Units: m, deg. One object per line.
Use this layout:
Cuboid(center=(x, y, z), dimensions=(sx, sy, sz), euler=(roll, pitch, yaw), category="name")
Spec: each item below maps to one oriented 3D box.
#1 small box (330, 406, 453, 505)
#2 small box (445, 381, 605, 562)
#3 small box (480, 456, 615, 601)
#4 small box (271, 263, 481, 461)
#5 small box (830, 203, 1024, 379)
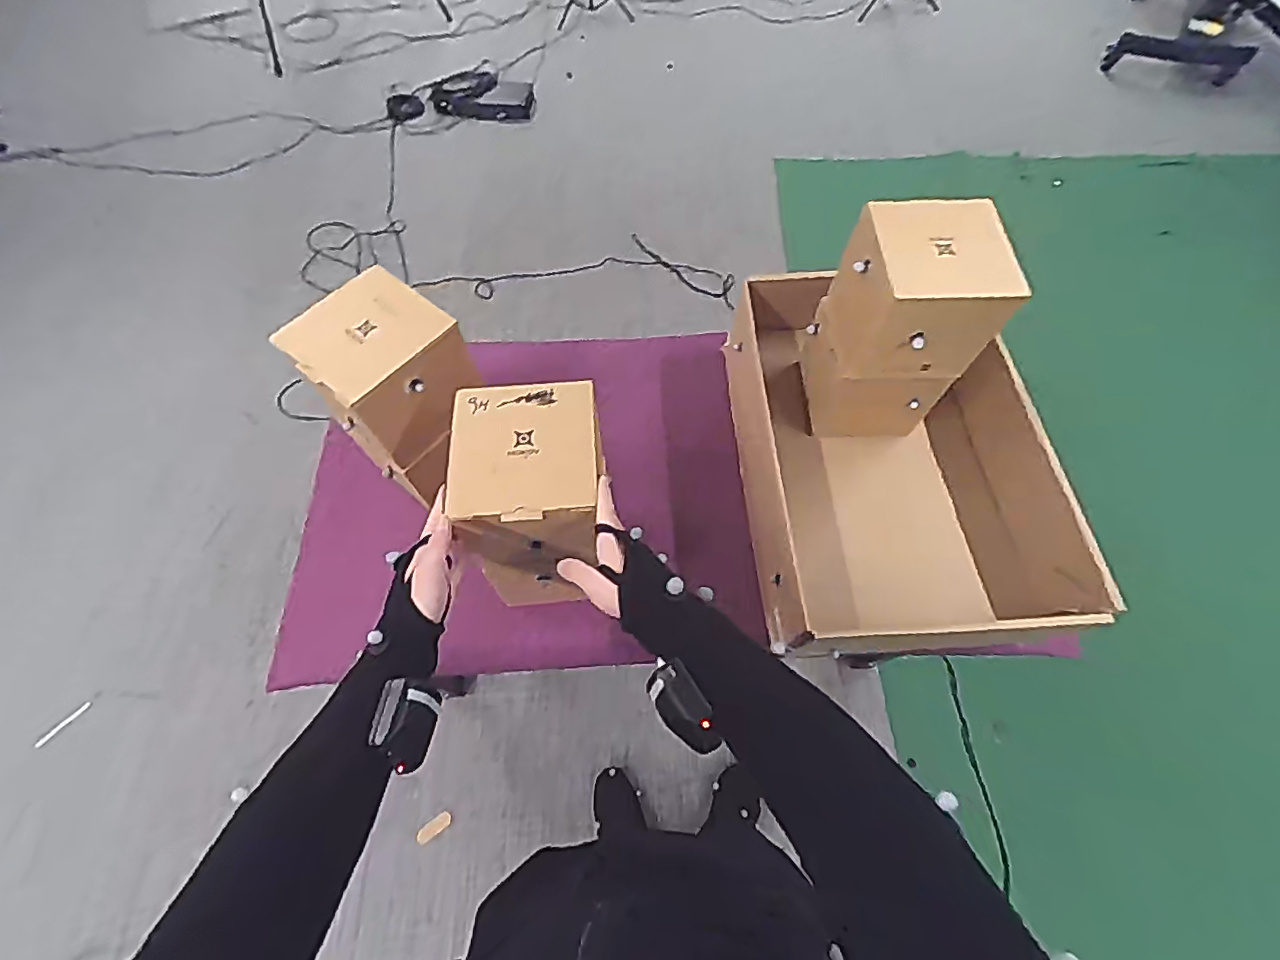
Cuboid(center=(-0.360, -0.080, 0.905), dimensions=(0.179, 0.176, 0.168), euler=(36, 68, 16), category="small box")
Cuboid(center=(-0.132, -0.001, 0.683), dimensions=(0.168, 0.176, 0.179), euler=(-4, 63, -3), category="small box")
Cuboid(center=(-0.132, 0.079, 0.825), dimensions=(0.179, 0.176, 0.168), euler=(-4, 62, -3), category="small box")
Cuboid(center=(-0.353, -0.158, 0.761), dimensions=(0.168, 0.176, 0.179), euler=(37, 68, 15), category="small box")
Cuboid(center=(0.383, -0.256, 0.759), dimensions=(0.168, 0.176, 0.179), euler=(-1, 64, 0), category="small box")
